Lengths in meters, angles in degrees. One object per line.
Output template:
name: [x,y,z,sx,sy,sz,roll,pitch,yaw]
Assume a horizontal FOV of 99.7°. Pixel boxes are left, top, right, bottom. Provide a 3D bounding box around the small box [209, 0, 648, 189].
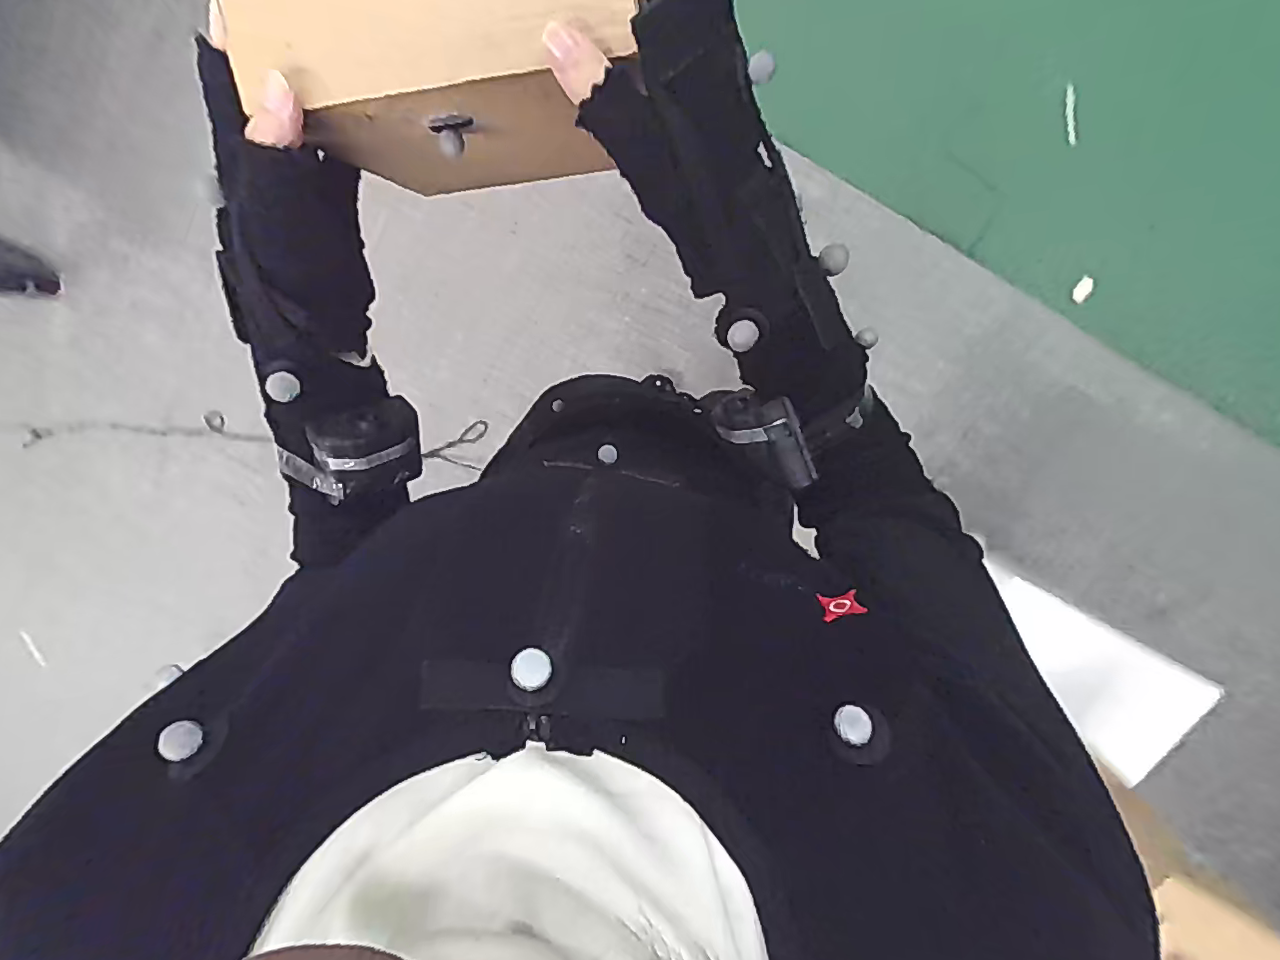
small box: [-0.096,-0.271,0.286,0.179,0.176,0.168,-5,106,7]
